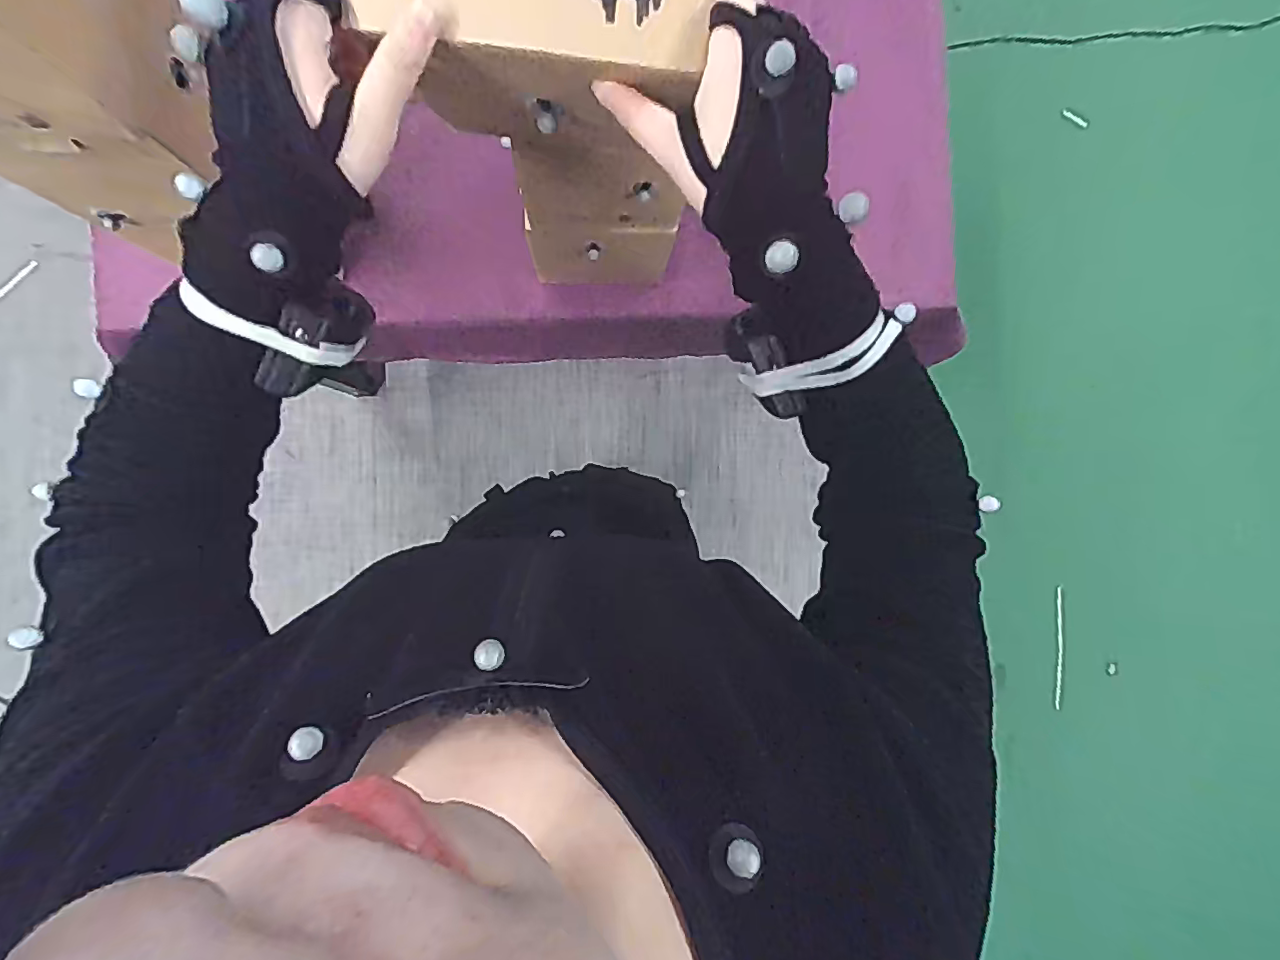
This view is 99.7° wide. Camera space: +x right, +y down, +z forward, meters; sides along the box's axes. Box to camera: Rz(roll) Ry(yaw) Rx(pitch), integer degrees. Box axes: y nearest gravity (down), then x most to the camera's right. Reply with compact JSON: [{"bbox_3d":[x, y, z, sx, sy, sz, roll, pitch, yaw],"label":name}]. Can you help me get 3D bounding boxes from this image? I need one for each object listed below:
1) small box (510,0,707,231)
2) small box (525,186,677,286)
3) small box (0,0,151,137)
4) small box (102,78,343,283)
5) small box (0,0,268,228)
[{"bbox_3d":[-0.033,-0.365,0.533,0.168,0.176,0.179,-3,90,-6],"label":"small box"},{"bbox_3d":[-0.049,-0.359,0.696,0.179,0.176,0.168,0,91,-5],"label":"small box"},{"bbox_3d":[-0.448,-0.343,0.329,0.168,0.176,0.179,-2,91,-7],"label":"small box"},{"bbox_3d":[-0.488,-0.349,0.655,0.179,0.176,0.168,-2,90,-6],"label":"small box"},{"bbox_3d":[-0.470,-0.350,0.492,0.168,0.176,0.179,-3,89,-7],"label":"small box"}]
